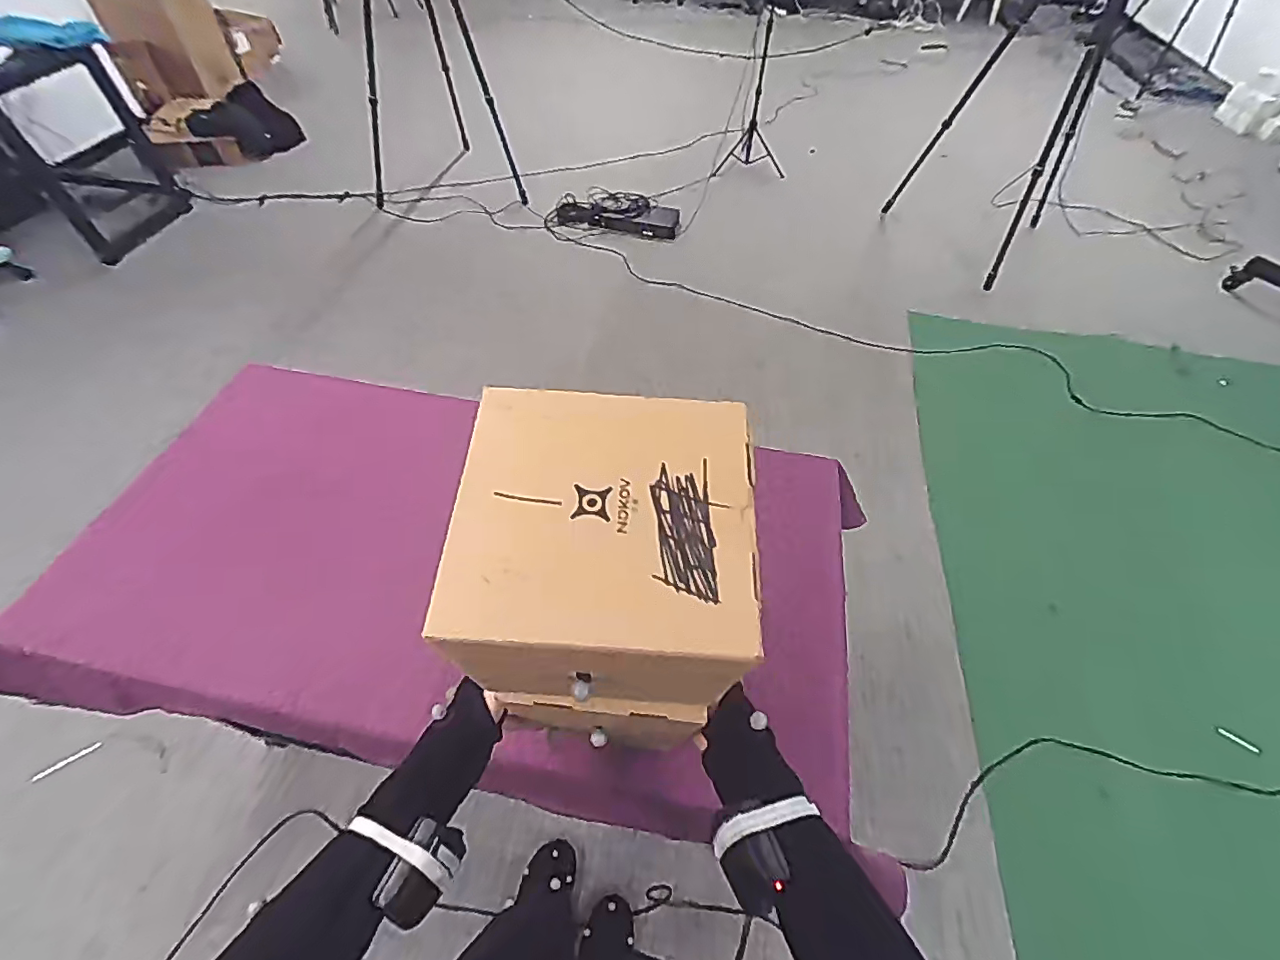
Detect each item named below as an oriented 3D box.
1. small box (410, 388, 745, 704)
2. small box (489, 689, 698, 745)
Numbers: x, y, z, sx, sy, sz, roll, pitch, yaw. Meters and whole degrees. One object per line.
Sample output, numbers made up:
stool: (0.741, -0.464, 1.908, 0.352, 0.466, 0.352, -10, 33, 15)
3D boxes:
small box: (-0.030, 0.057, 0.386, 0.179, 0.176, 0.168, 4, 58, 0)
small box: (-0.032, 0.145, 0.525, 0.168, 0.176, 0.179, 7, 59, 2)
